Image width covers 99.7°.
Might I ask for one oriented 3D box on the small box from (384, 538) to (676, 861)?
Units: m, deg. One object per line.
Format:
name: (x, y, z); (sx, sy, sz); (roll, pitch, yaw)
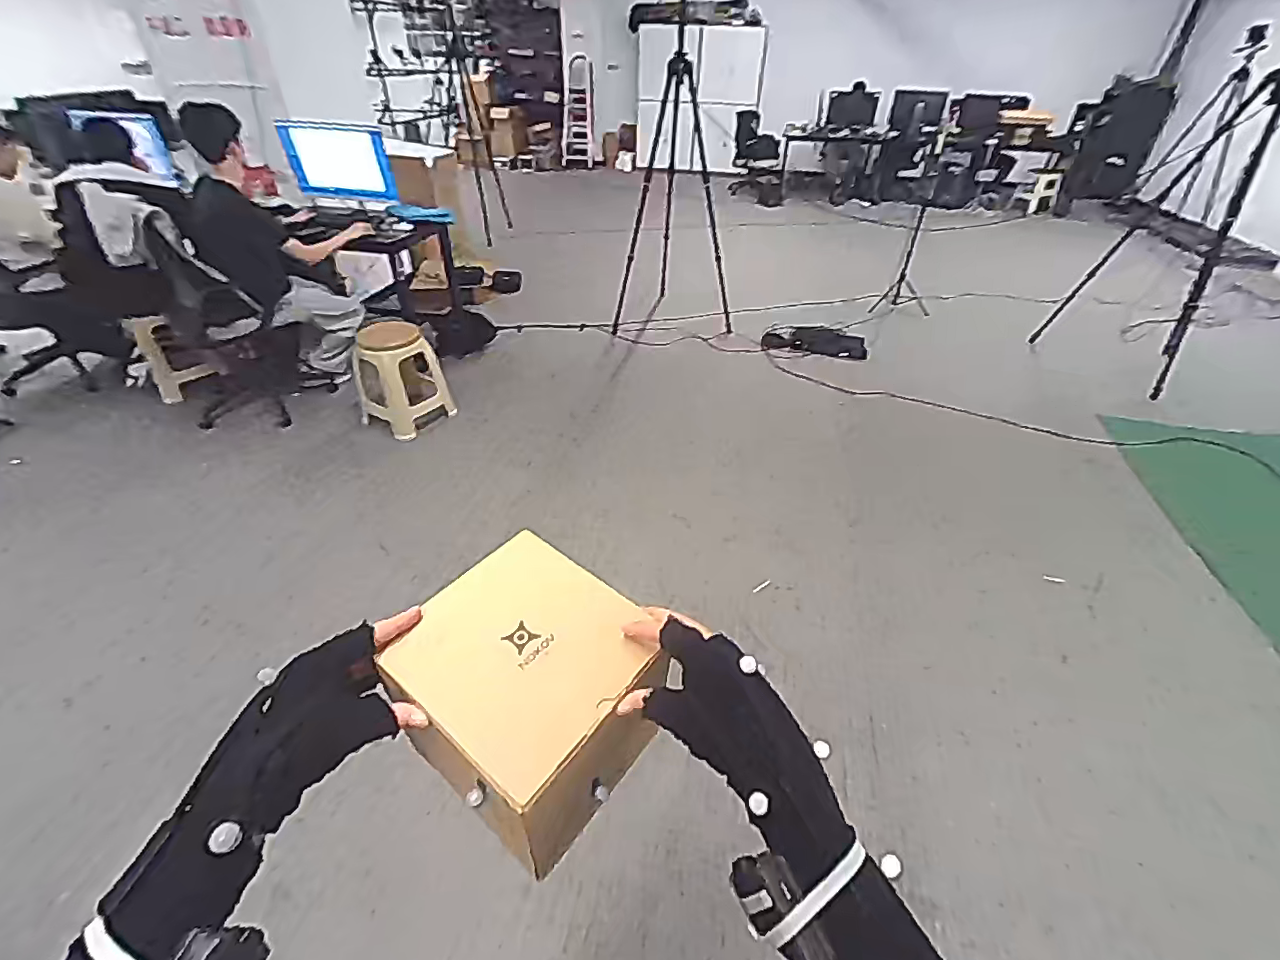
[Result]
small box: (-0.094, 0.191, 0.484); (0.179, 0.176, 0.168); (32, 46, 25)
